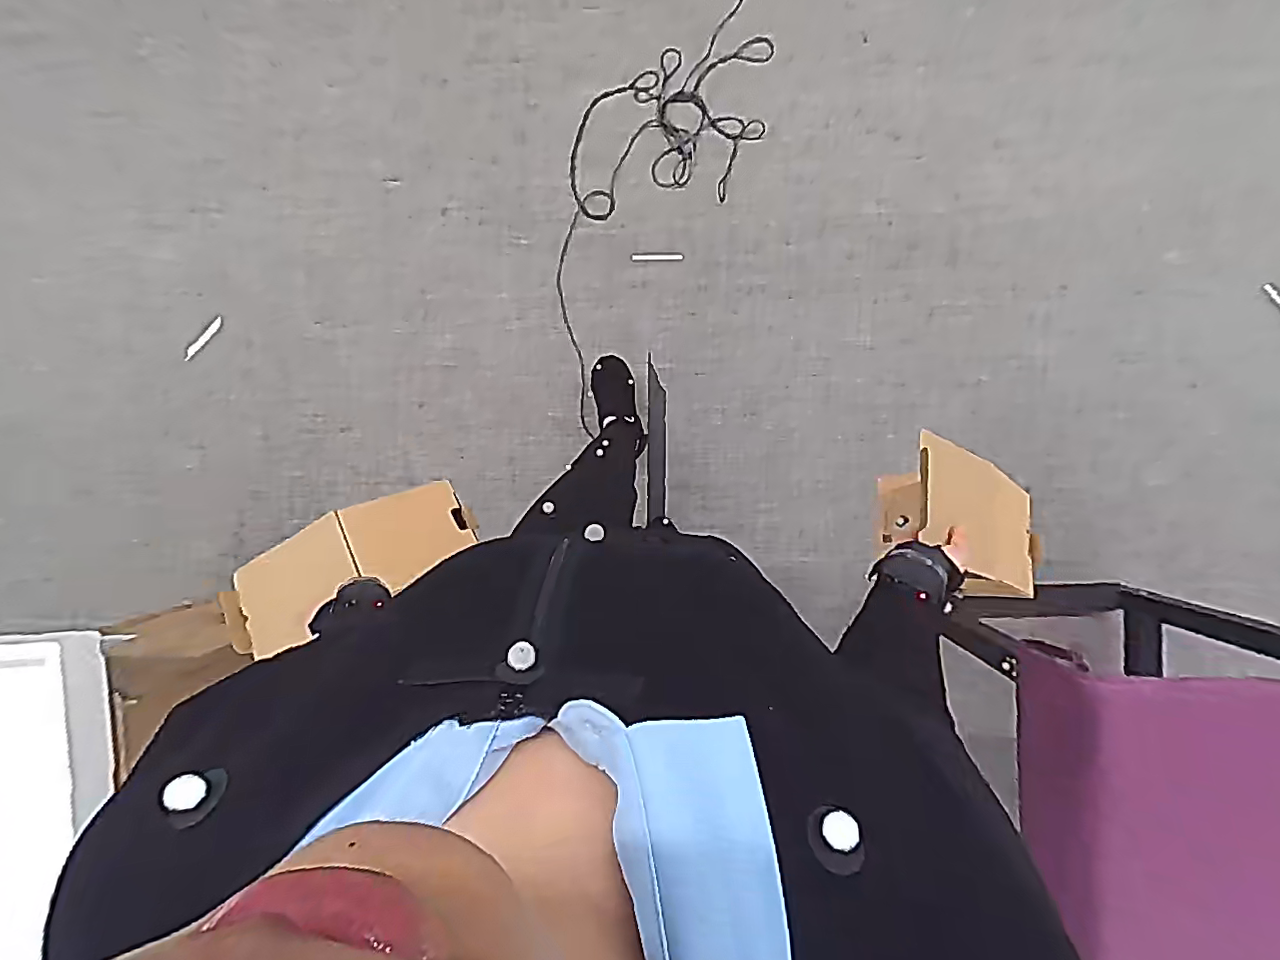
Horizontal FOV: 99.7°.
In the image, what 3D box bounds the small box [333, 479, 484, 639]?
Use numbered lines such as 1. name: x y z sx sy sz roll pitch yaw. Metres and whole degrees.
1. small box: -0.370 0.130 0.877 0.179 0.176 0.168 -18 62 -32
